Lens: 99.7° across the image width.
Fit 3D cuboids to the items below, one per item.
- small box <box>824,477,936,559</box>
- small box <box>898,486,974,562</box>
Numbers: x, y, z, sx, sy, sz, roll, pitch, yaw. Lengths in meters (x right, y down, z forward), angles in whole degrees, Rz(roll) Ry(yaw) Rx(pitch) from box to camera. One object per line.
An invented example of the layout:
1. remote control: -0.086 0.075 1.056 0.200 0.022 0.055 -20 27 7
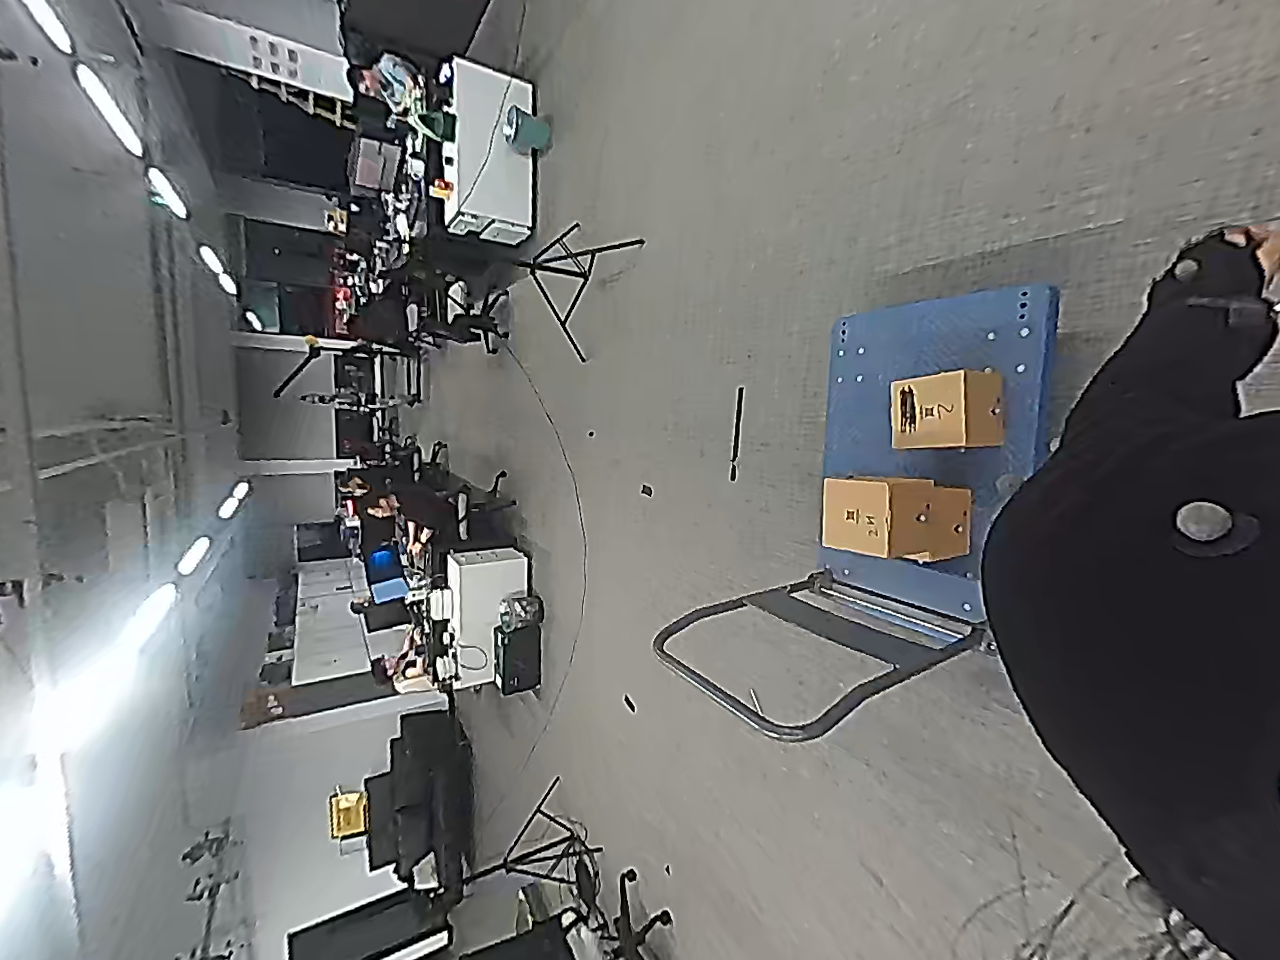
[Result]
1. small box: 0.553 0.080 1.253 0.179 0.176 0.168 6 97 58
2. small box: 0.692 0.100 1.341 0.179 0.176 0.168 5 96 58
